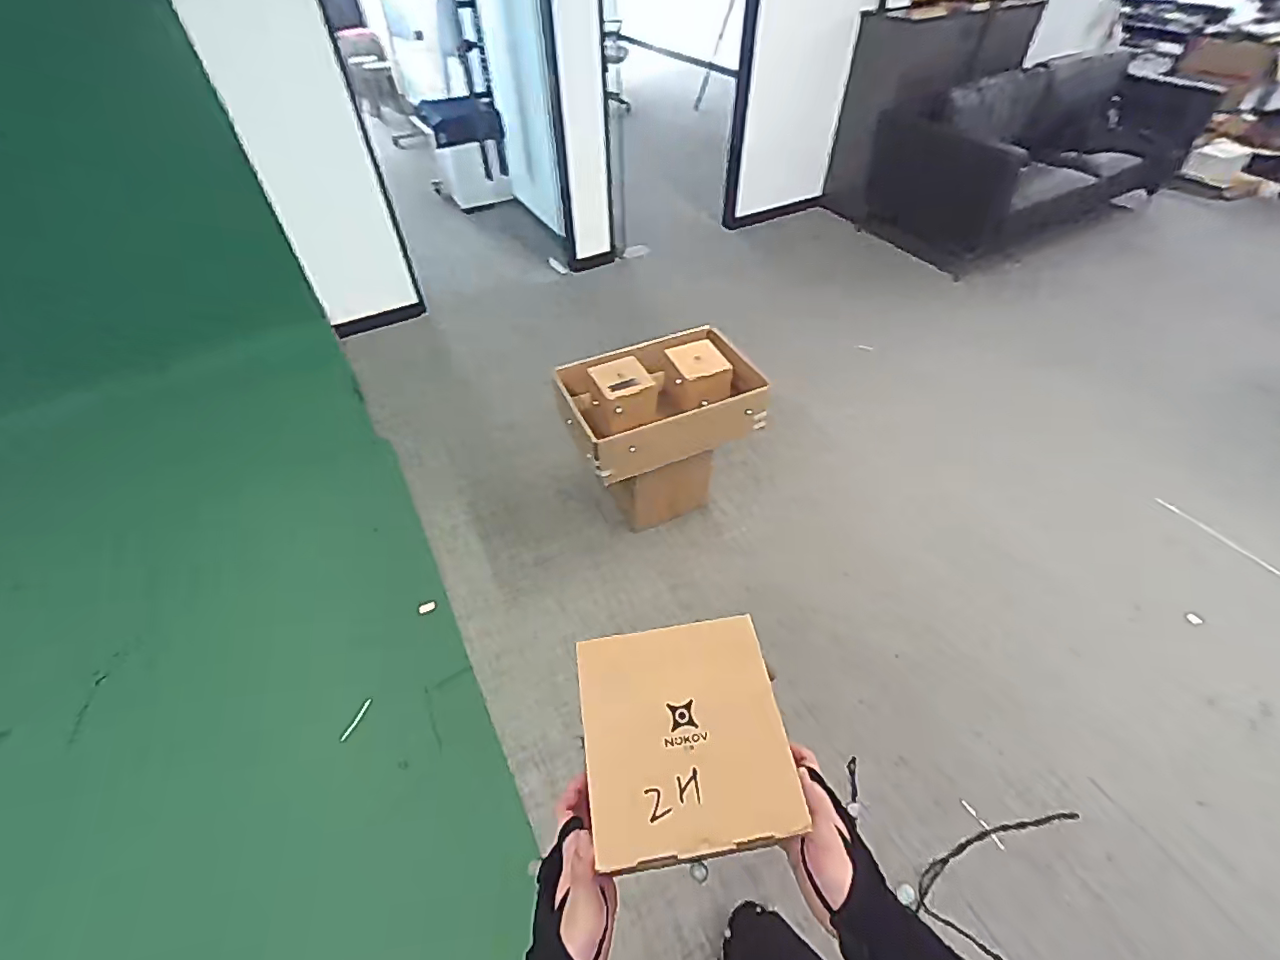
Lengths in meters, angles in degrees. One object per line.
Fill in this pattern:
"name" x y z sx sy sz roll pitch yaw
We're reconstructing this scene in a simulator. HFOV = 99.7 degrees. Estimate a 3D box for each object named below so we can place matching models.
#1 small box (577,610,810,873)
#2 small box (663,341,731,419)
"small box" 0.035 0.244 0.503 0.168 0.176 0.179 -8 53 -3
"small box" 0.183 -0.335 1.812 0.168 0.176 0.179 -19 51 -16
